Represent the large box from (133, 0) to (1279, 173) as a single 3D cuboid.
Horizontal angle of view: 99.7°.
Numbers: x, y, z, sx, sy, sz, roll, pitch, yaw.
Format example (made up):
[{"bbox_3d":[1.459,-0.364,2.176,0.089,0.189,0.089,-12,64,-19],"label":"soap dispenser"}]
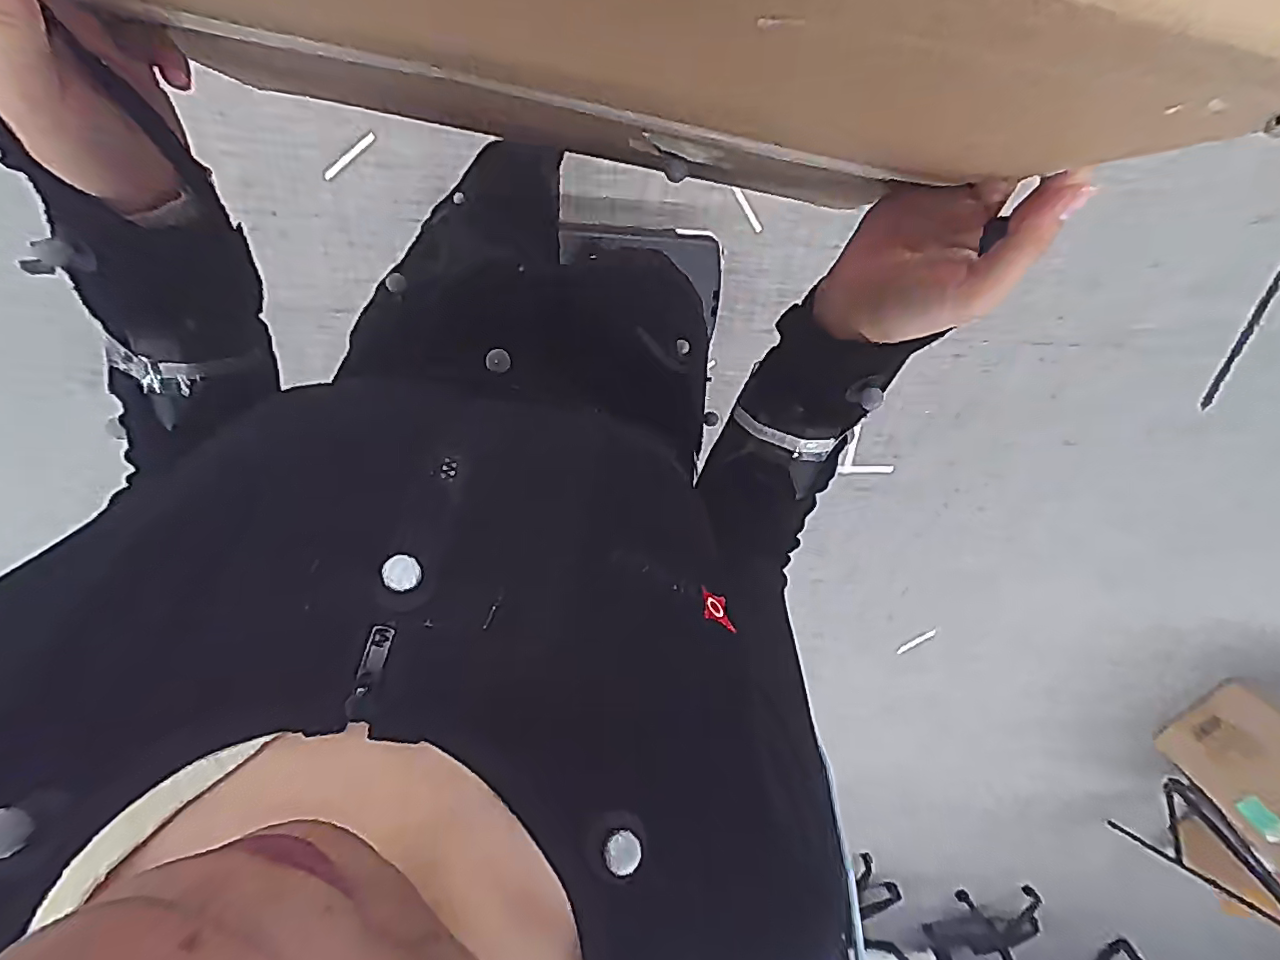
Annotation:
[{"bbox_3d":[-0.016,-0.321,0.166,0.408,0.320,0.320,7,114,-7],"label":"large box"}]
